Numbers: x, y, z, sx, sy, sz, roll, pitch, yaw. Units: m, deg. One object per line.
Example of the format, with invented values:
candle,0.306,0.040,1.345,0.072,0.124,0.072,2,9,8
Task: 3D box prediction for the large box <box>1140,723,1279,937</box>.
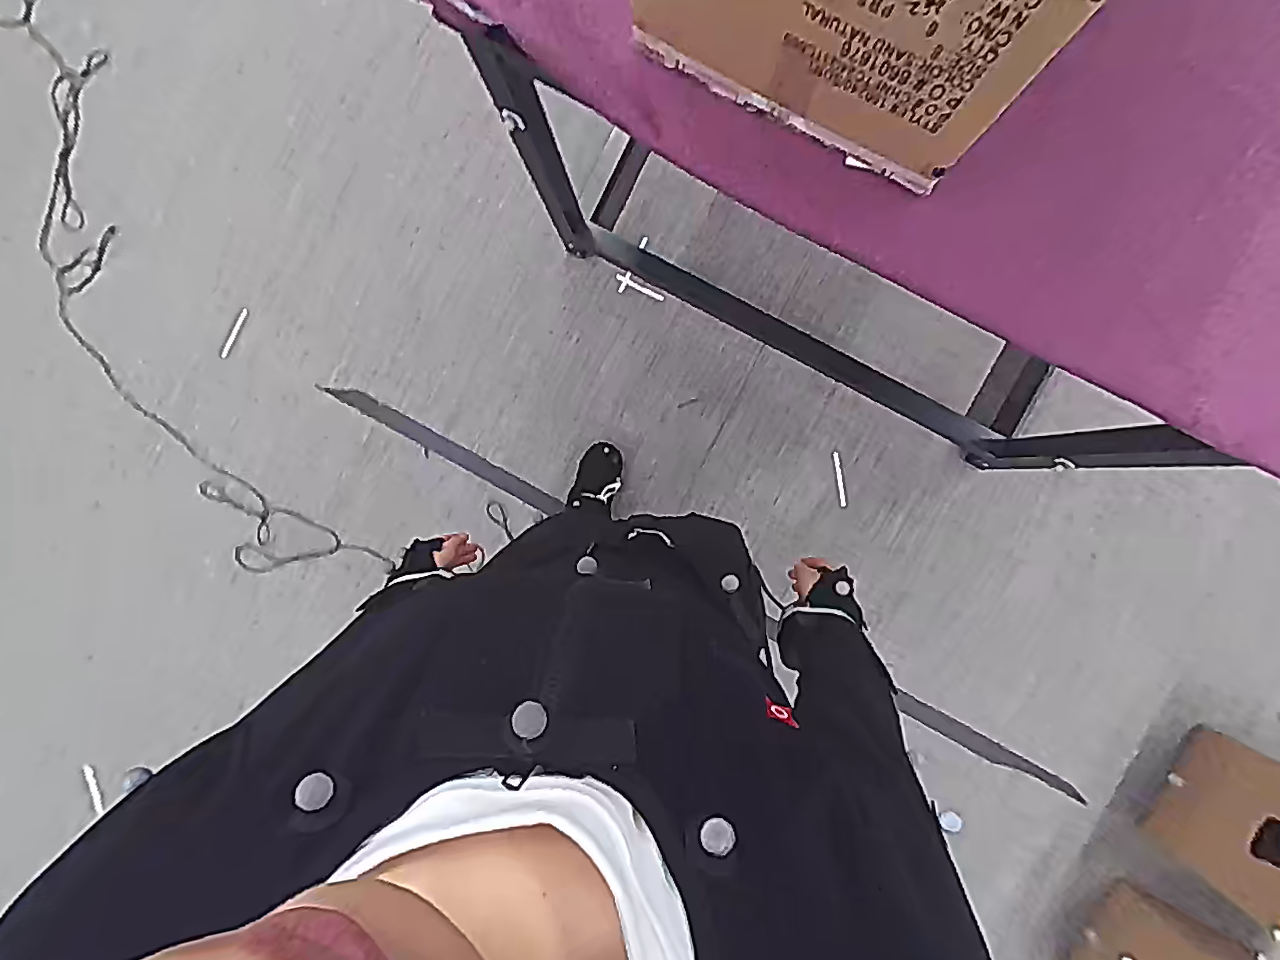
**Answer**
large box,1.454,0.807,1.160,0.408,0.320,0.320,27,92,3
